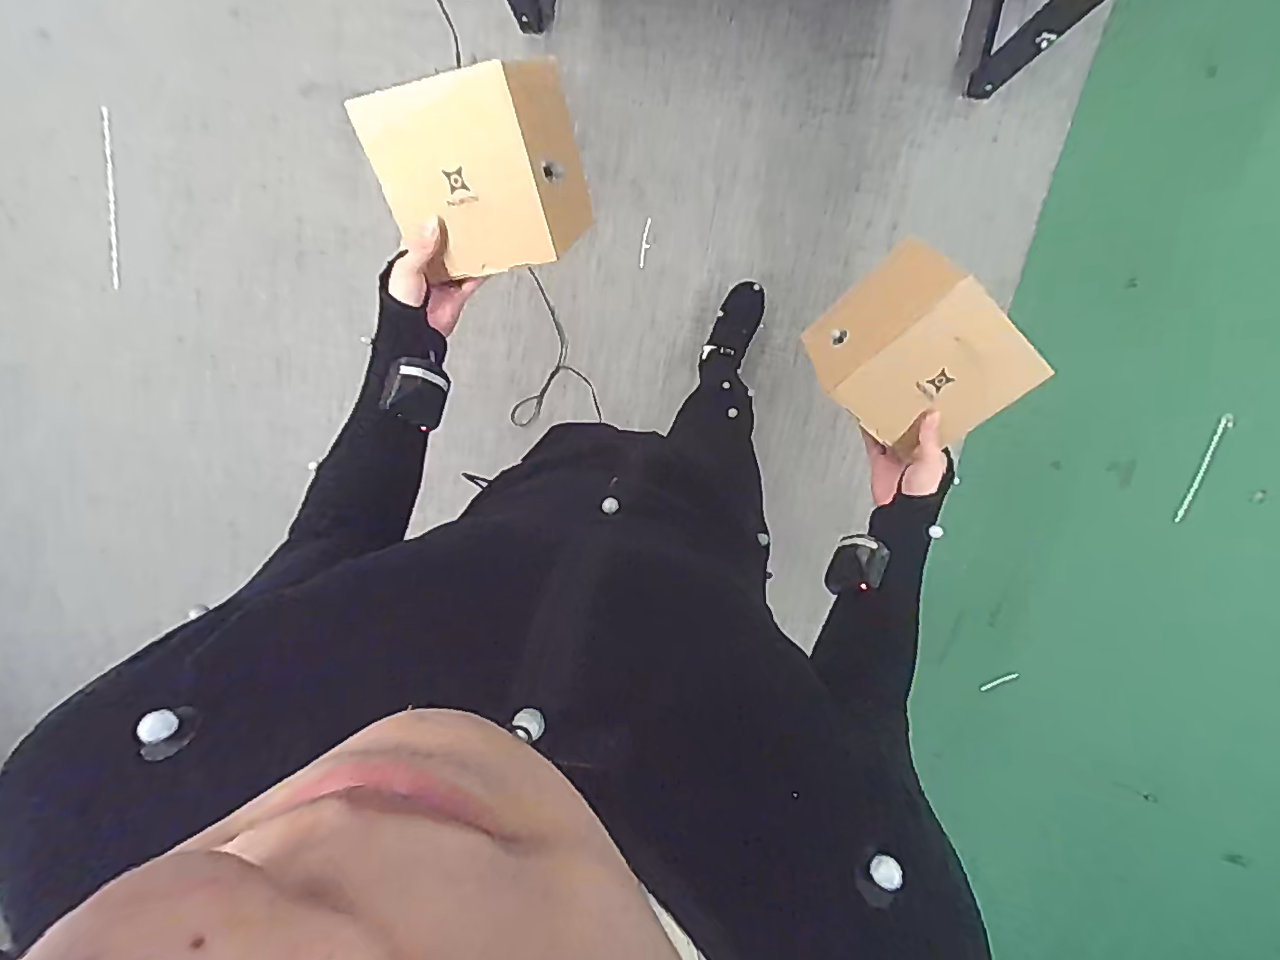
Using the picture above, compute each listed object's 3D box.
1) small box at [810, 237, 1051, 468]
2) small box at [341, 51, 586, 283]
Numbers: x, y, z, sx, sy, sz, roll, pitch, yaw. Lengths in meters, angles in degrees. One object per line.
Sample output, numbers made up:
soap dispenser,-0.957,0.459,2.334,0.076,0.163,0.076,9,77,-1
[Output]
small box,0.326,-0.154,0.650,0.168,0.176,0.179,34,122,-22
small box,-0.169,-0.339,0.587,0.168,0.176,0.179,-4,129,14
